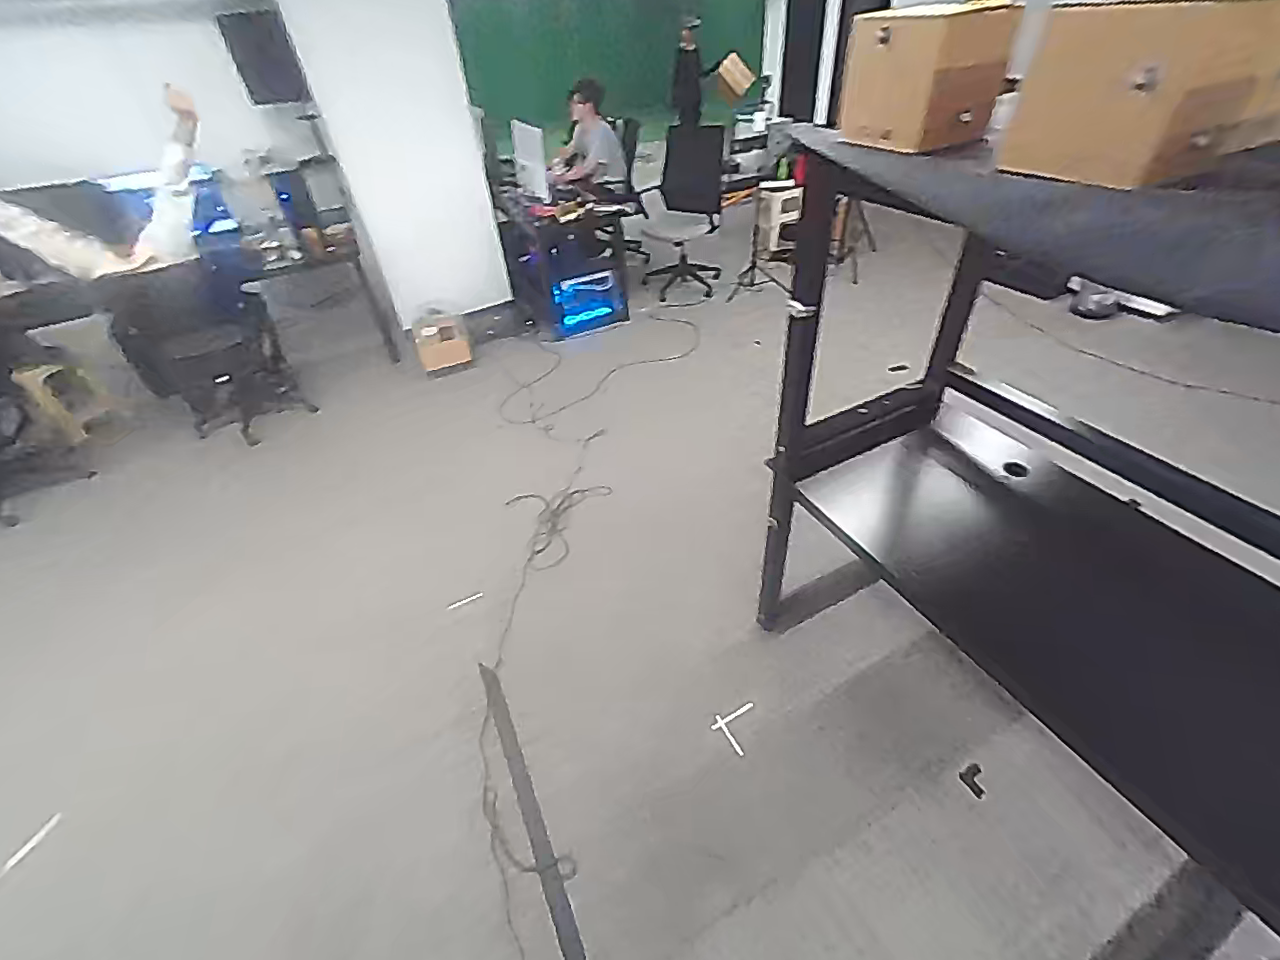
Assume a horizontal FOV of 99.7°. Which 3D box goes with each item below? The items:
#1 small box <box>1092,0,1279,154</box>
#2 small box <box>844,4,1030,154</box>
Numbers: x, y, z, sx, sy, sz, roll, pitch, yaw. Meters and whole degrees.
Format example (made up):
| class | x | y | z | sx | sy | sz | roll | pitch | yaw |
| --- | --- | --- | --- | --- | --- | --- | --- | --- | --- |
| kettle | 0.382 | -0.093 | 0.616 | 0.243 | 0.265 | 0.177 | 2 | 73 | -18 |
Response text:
| class | x | y | z | sx | sy | sz | roll | pitch | yaw |
| --- | --- | --- | --- | --- | --- | --- | --- | --- | --- |
| small box | 0.783 | -0.555 | 0.732 | 0.168 | 0.176 | 0.179 | -21 | 43 | -16 |
| small box | 0.450 | -0.633 | 0.851 | 0.179 | 0.176 | 0.168 | -23 | 44 | -20 |
